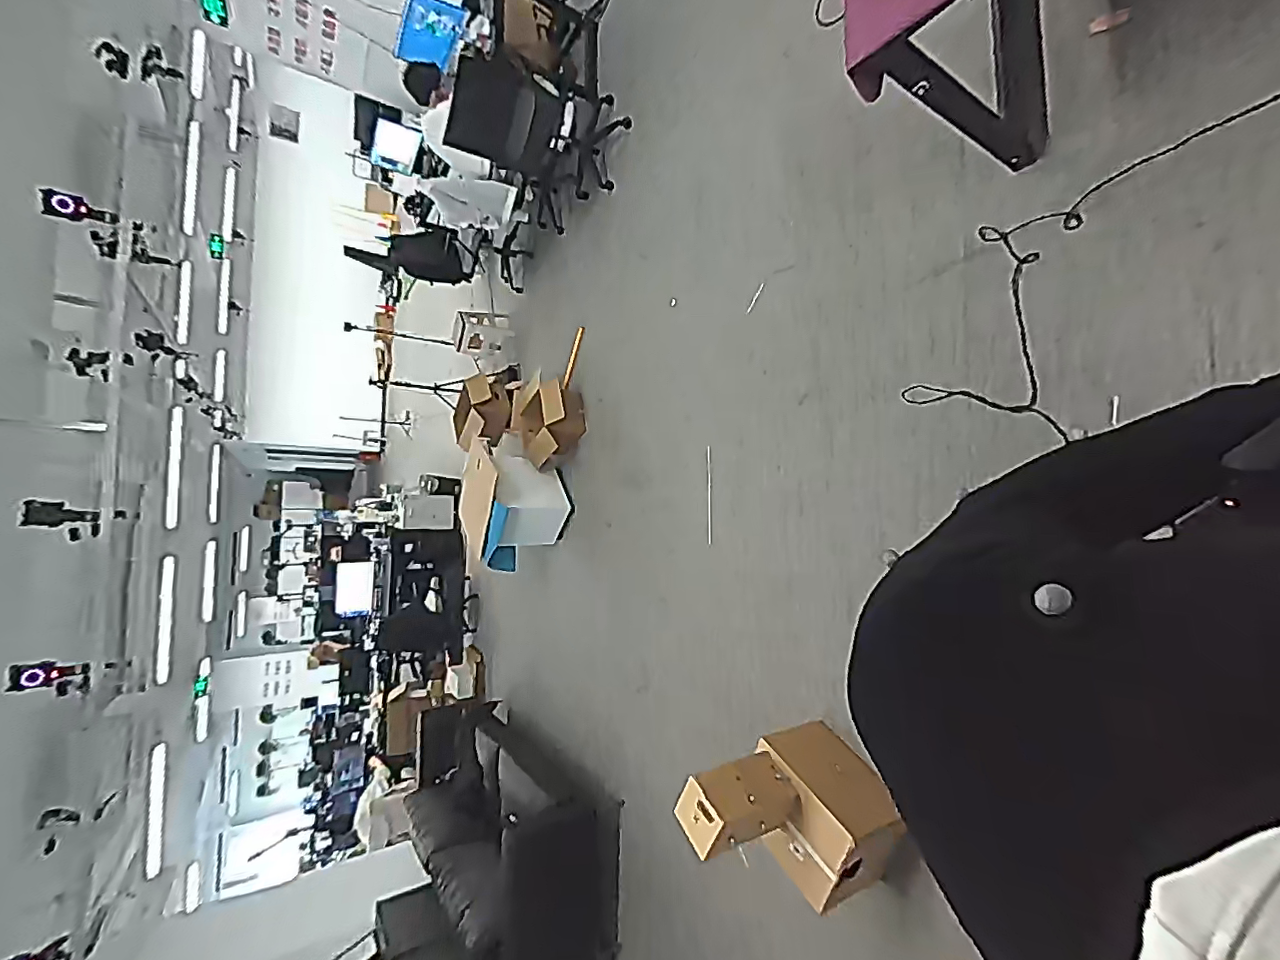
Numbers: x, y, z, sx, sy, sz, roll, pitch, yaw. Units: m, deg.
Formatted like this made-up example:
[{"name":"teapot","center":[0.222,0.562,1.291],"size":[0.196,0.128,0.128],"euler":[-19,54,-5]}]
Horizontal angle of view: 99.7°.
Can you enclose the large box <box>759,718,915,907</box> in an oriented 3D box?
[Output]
[{"name":"large box","center":[0.618,1.085,1.824],"size":[0.408,0.320,0.320],"euler":[35,118,51]}]

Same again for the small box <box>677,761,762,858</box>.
[{"name":"small box","center":[0.246,0.997,1.651],"size":[0.168,0.176,0.179],"euler":[44,124,48]}]

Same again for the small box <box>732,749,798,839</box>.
[{"name":"small box","center":[0.379,1.008,1.747],"size":[0.168,0.176,0.179],"euler":[44,122,48]}]
